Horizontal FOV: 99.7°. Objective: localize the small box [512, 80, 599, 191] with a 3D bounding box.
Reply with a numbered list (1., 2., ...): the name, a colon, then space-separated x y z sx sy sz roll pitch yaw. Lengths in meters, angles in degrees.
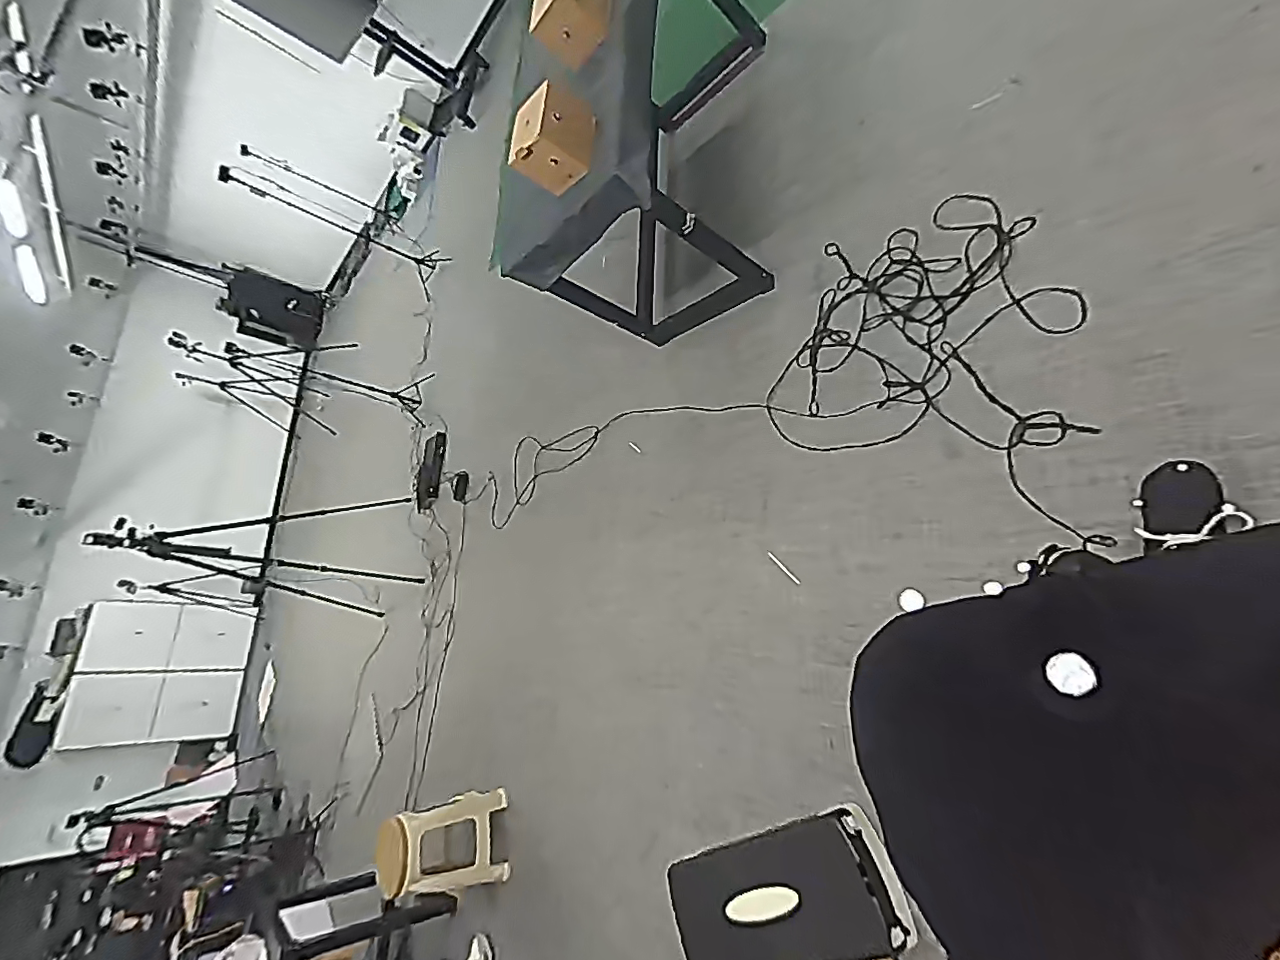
1. small box: -0.232 -0.944 1.508 0.168 0.176 0.179 -5 74 48
